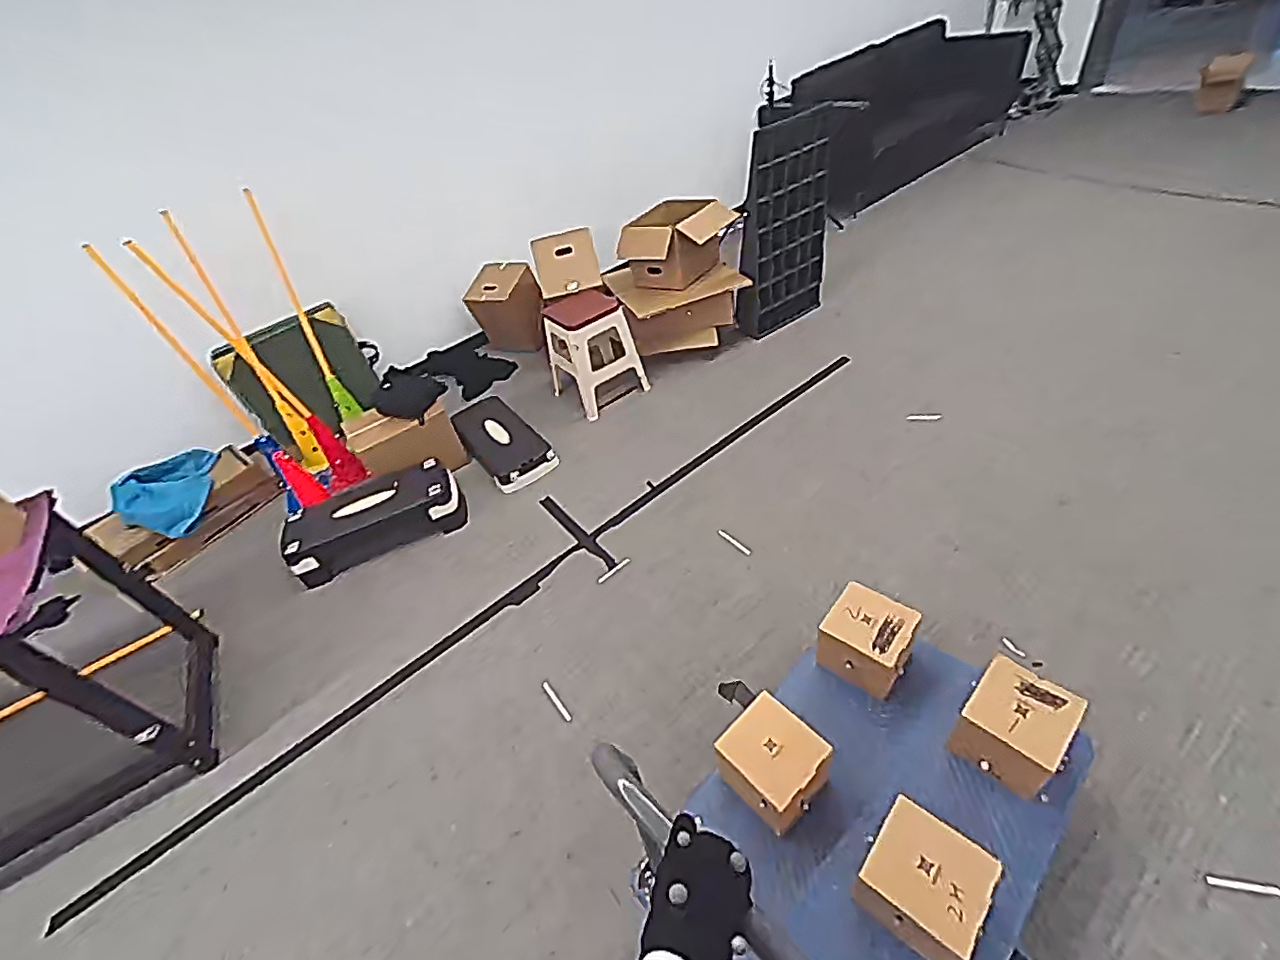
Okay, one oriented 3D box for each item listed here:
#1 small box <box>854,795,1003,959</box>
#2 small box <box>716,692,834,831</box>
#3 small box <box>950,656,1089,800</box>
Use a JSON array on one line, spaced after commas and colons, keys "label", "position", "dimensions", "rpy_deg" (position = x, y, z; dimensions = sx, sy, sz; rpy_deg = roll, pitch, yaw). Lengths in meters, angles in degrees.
[{"label": "small box", "position": [0.500, 0.714, 0.959], "dimensions": [0.179, 0.176, 0.168], "rpy_deg": [27, 55, 36]}, {"label": "small box", "position": [0.281, 0.596, 1.144], "dimensions": [0.168, 0.176, 0.179], "rpy_deg": [-36, 48, -24]}, {"label": "small box", "position": [0.768, 0.509, 1.112], "dimensions": [0.179, 0.176, 0.168], "rpy_deg": [-39, 48, -24]}]
